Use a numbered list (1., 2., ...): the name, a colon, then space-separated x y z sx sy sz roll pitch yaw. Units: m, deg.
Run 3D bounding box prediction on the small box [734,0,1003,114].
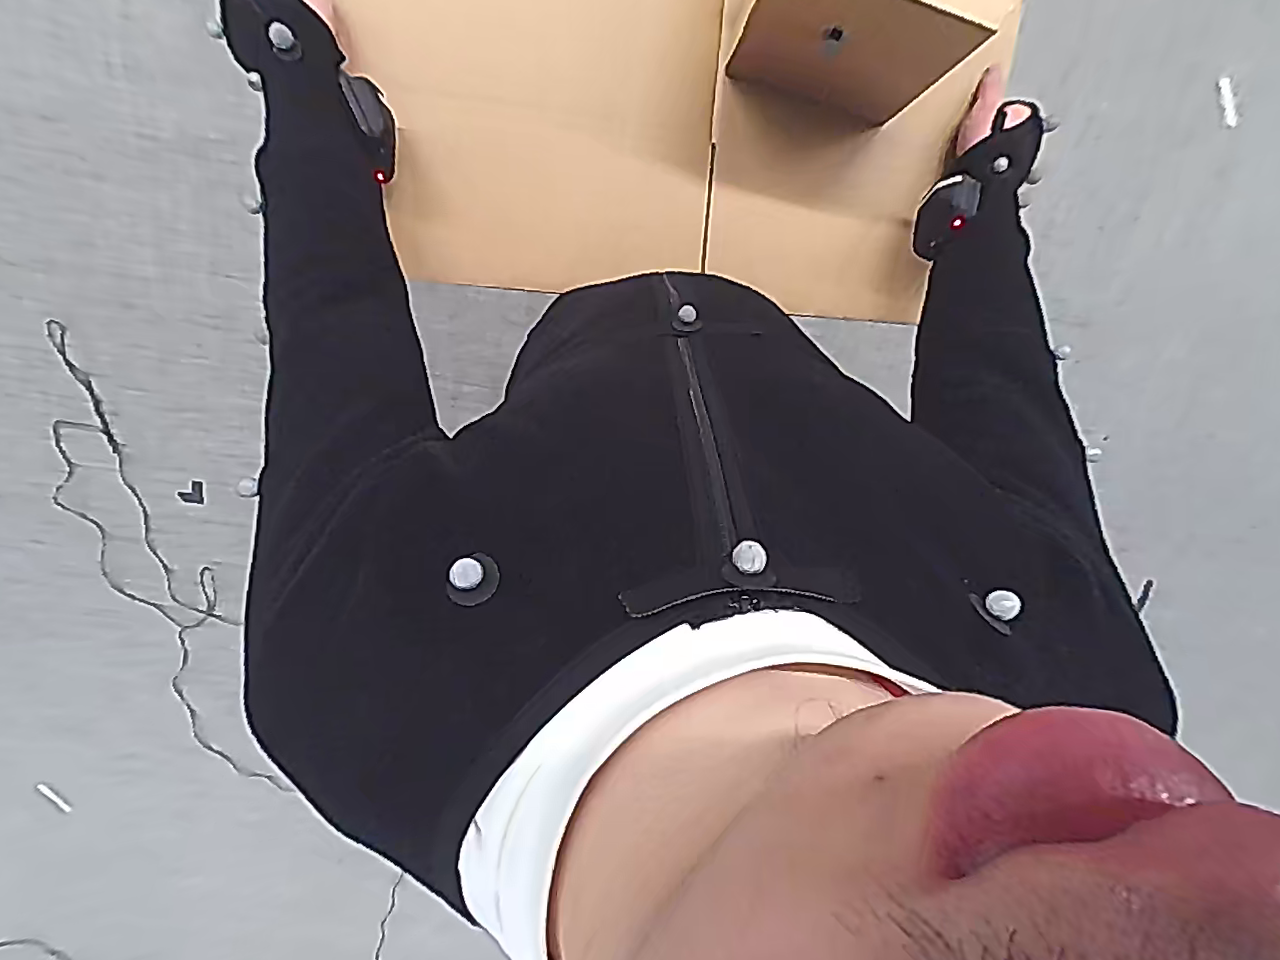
1. small box: 0.193 -0.447 0.454 0.179 0.176 0.168 13 102 -6
